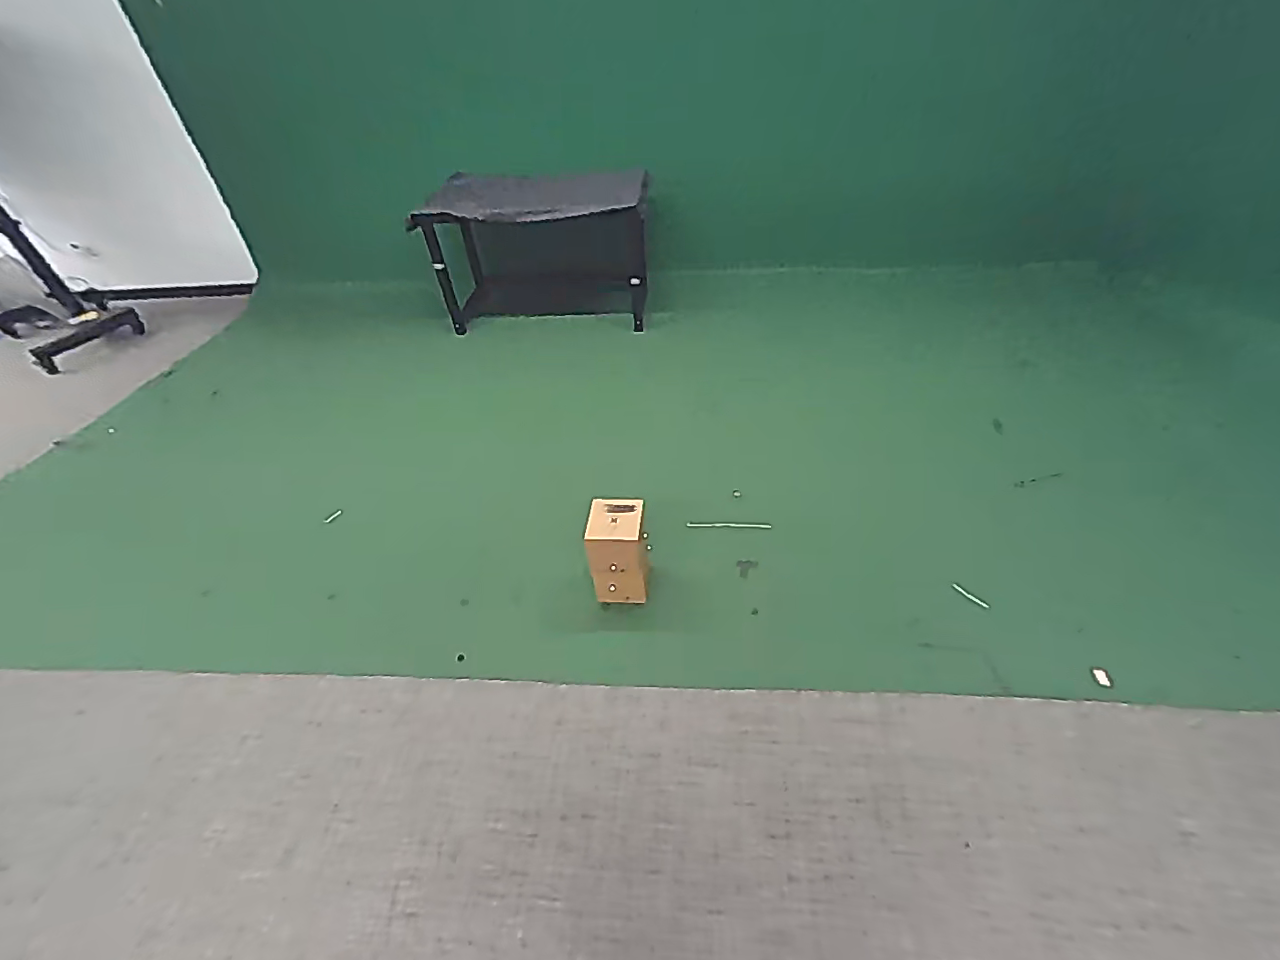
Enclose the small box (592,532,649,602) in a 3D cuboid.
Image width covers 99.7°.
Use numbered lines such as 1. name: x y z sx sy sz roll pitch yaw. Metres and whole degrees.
1. small box: -0.059 0.295 1.827 0.168 0.176 0.179 0 42 7
